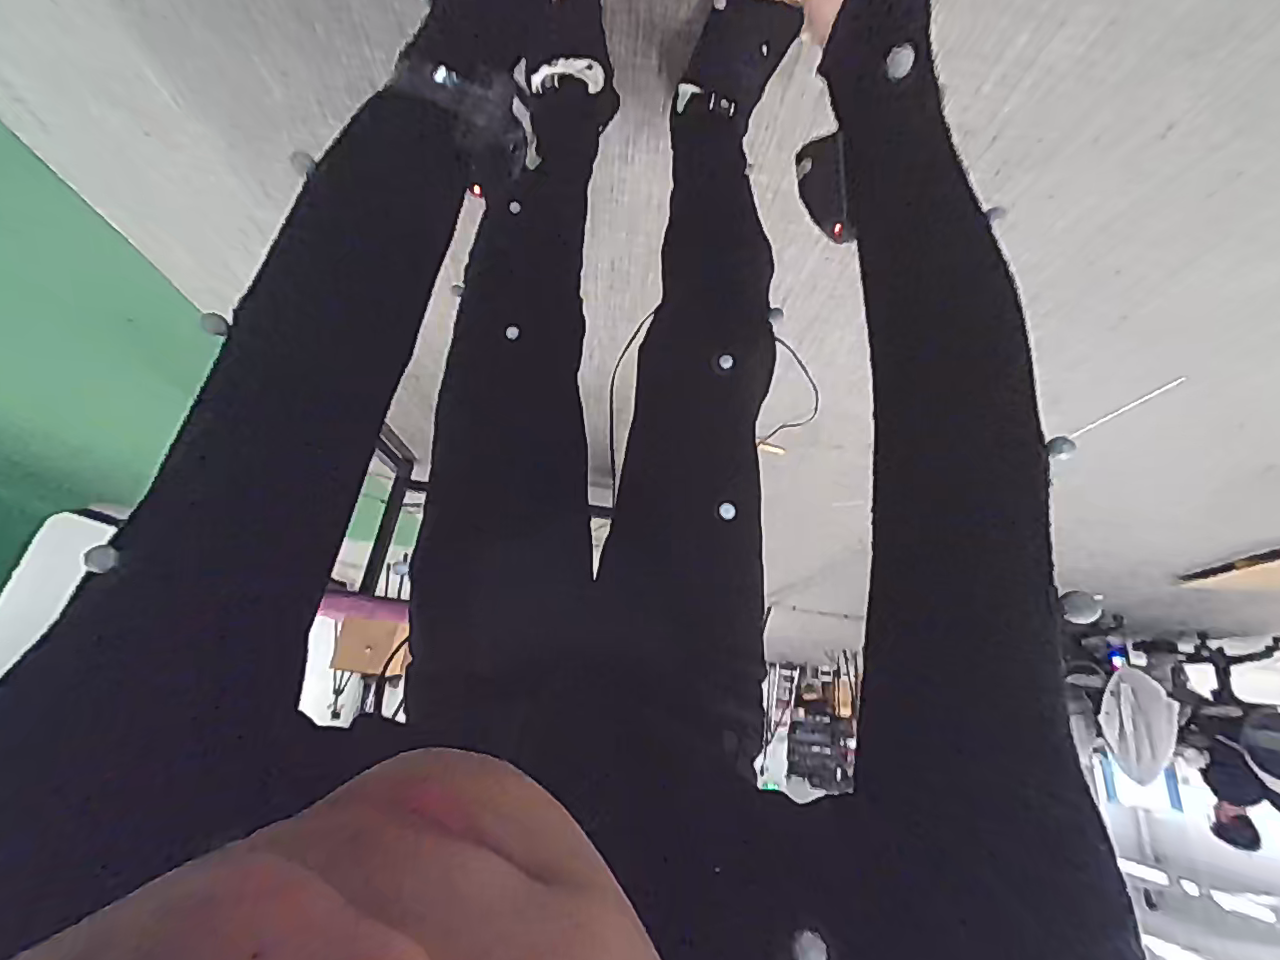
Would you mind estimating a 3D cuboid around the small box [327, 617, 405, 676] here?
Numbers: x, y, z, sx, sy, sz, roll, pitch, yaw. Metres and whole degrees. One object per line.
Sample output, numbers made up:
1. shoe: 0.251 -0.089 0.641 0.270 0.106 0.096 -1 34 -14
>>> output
1. small box: -0.890 0.547 1.780 0.179 0.176 0.168 9 160 -7
